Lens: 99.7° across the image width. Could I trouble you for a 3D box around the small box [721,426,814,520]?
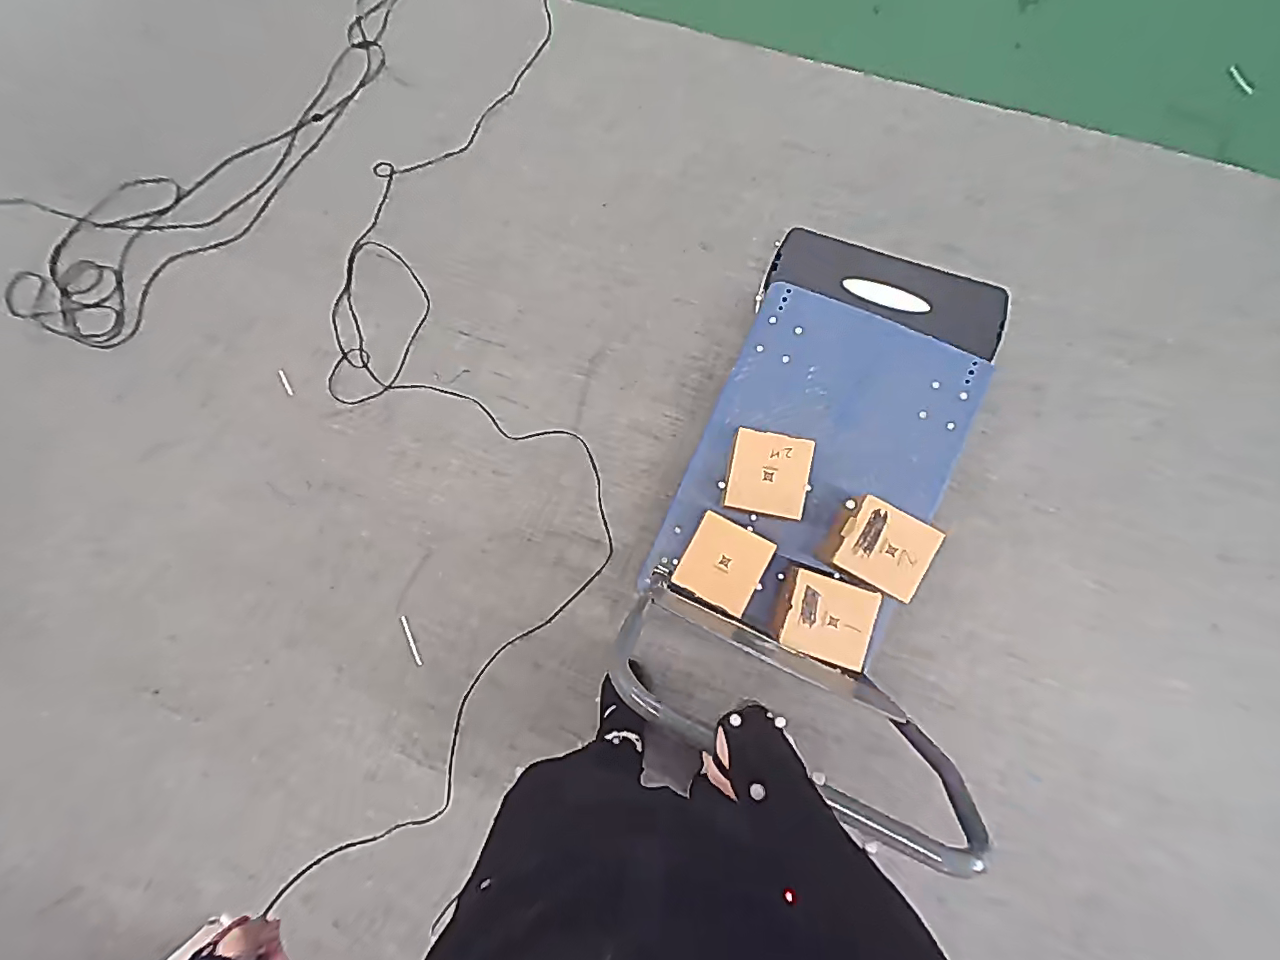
[{"bbox_3d":[0.282,-0.009,1.231,0.168,0.176,0.179,12,85,5],"label":"small box"}]
